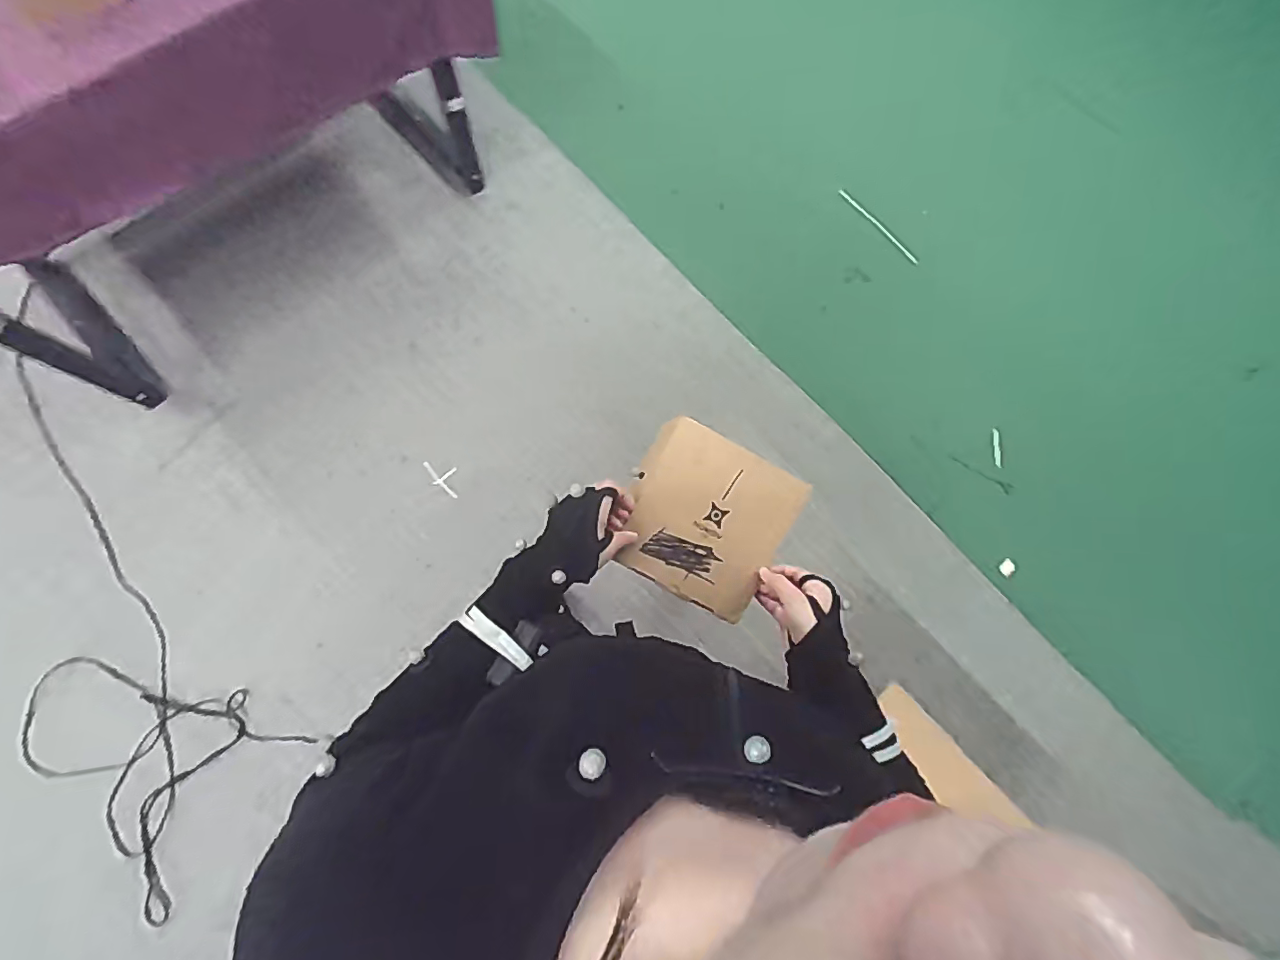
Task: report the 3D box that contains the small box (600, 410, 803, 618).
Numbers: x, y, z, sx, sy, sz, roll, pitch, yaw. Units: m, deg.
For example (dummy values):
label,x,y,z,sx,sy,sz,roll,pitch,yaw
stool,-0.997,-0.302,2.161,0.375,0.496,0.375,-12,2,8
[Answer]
label,x,y,z,sx,sy,sz,roll,pitch,yaw
small box,0.064,0.035,0.662,0.168,0.176,0.179,28,90,-5
